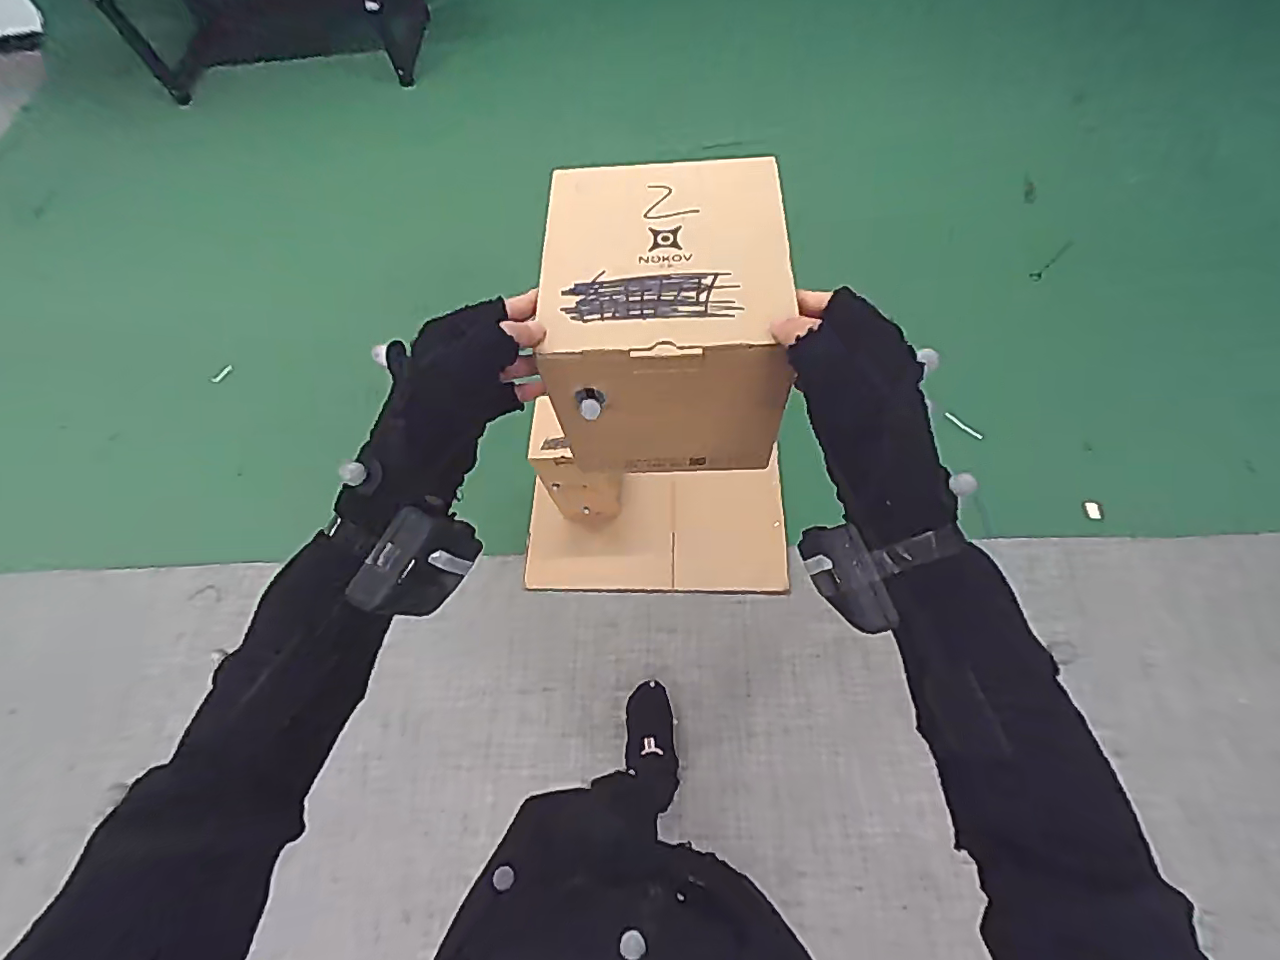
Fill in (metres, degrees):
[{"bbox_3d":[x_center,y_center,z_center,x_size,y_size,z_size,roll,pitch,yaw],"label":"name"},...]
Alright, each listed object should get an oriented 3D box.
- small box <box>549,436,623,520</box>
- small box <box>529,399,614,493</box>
[{"bbox_3d":[-0.141,-0.003,1.469,0.168,0.176,0.179,-2,64,6],"label":"small box"},{"bbox_3d":[-0.159,-0.077,1.323,0.168,0.176,0.179,0,63,6],"label":"small box"}]
